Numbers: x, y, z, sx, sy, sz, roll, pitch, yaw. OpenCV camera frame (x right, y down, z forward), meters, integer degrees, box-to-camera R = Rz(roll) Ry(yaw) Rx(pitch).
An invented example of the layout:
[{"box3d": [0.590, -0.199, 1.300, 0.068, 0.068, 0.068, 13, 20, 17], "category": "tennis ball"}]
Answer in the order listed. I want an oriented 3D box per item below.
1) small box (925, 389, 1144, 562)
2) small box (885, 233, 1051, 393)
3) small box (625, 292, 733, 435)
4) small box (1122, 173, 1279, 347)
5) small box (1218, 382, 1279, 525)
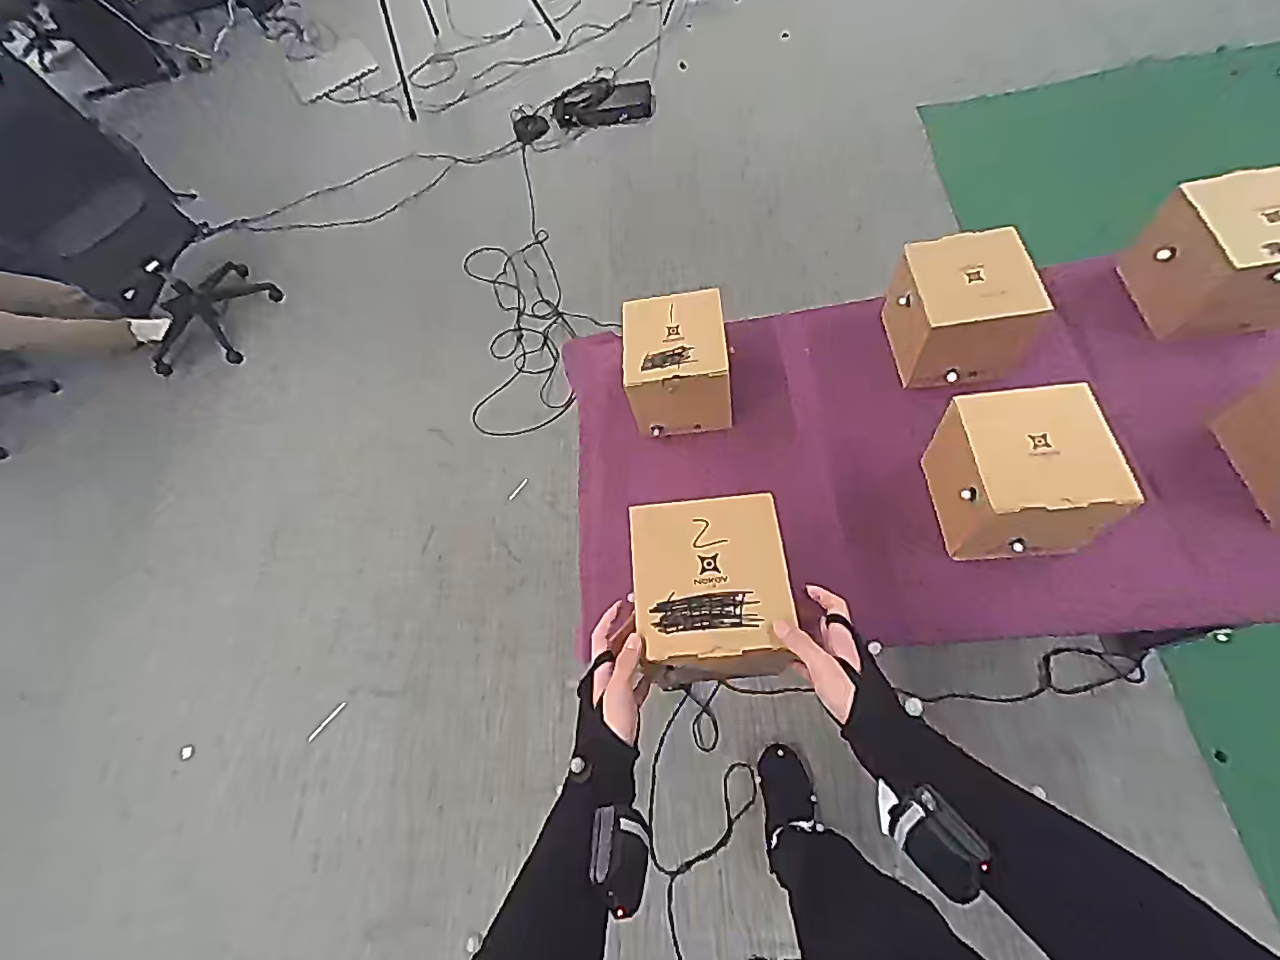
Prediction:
[{"box3d": [0.518, 0.000, 0.748, 0.168, 0.176, 0.179, -5, 61, 9], "category": "small box"}, {"box3d": [0.518, -0.267, 0.887, 0.168, 0.176, 0.179, -6, 64, 9], "category": "small box"}, {"box3d": [0.070, -0.191, 0.939, 0.168, 0.176, 0.179, -6, 63, 8], "category": "small box"}, {"box3d": [0.907, -0.334, 0.835, 0.168, 0.176, 0.179, -7, 63, 11], "category": "small box"}, {"box3d": [0.915, -0.050, 0.685, 0.168, 0.176, 0.179, -6, 61, 10], "category": "small box"}]
